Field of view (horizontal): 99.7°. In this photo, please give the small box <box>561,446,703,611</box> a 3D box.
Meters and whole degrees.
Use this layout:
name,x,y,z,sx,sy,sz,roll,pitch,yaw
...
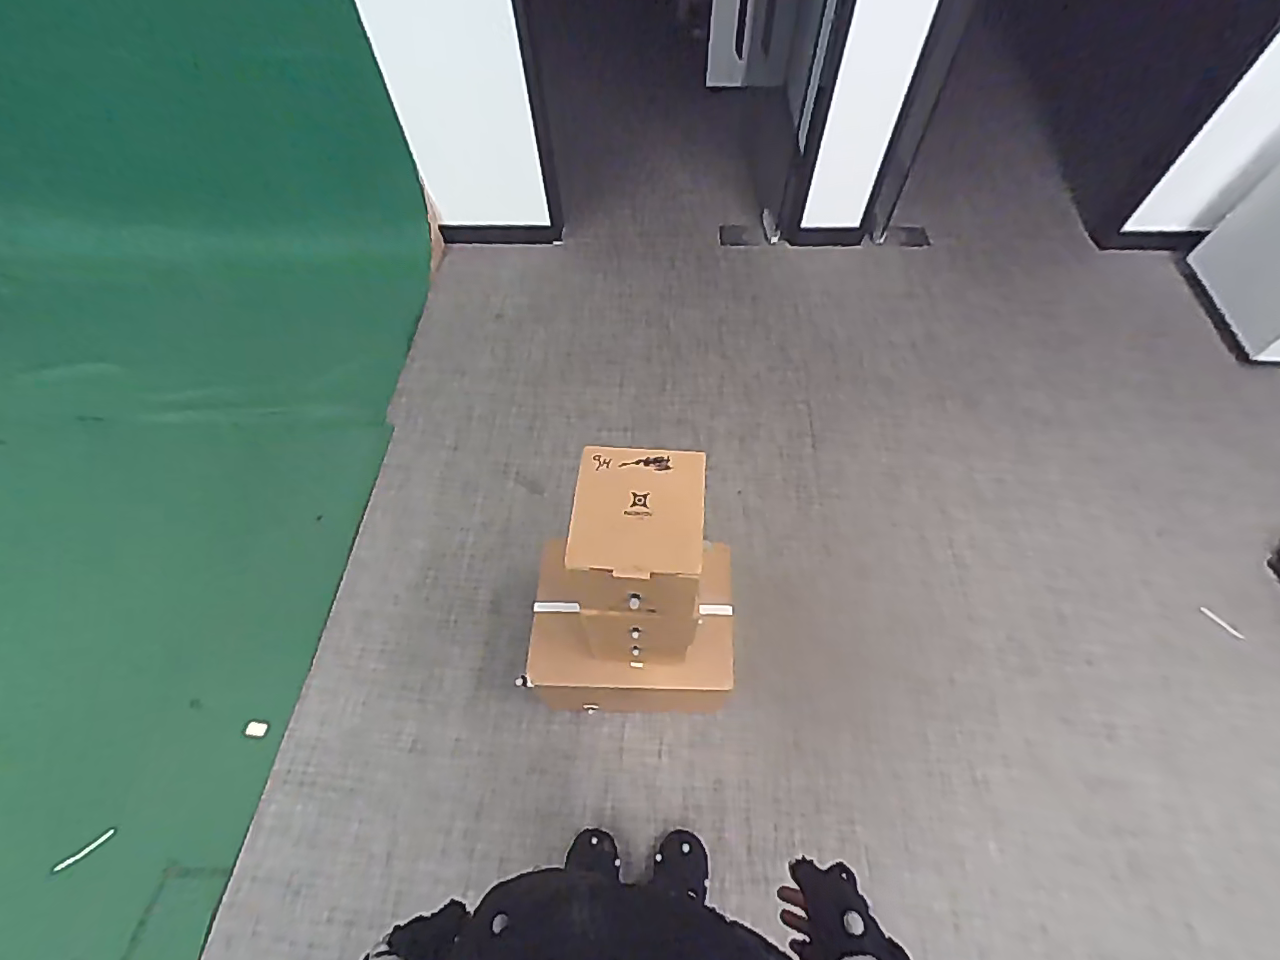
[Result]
name,x,y,z,sx,sy,sz,roll,pitch,yaw
small box,-0.002,0.073,0.747,0.168,0.176,0.179,4,61,5

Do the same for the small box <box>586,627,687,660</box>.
name,x,y,z,sx,sy,sz,roll,pitch,yaw
small box,0.001,0.240,1.029,0.179,0.176,0.168,3,61,2

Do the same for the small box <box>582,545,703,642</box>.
name,x,y,z,sx,sy,sz,roll,pitch,yaw
small box,0.003,0.163,0.884,0.179,0.176,0.168,-1,61,0
